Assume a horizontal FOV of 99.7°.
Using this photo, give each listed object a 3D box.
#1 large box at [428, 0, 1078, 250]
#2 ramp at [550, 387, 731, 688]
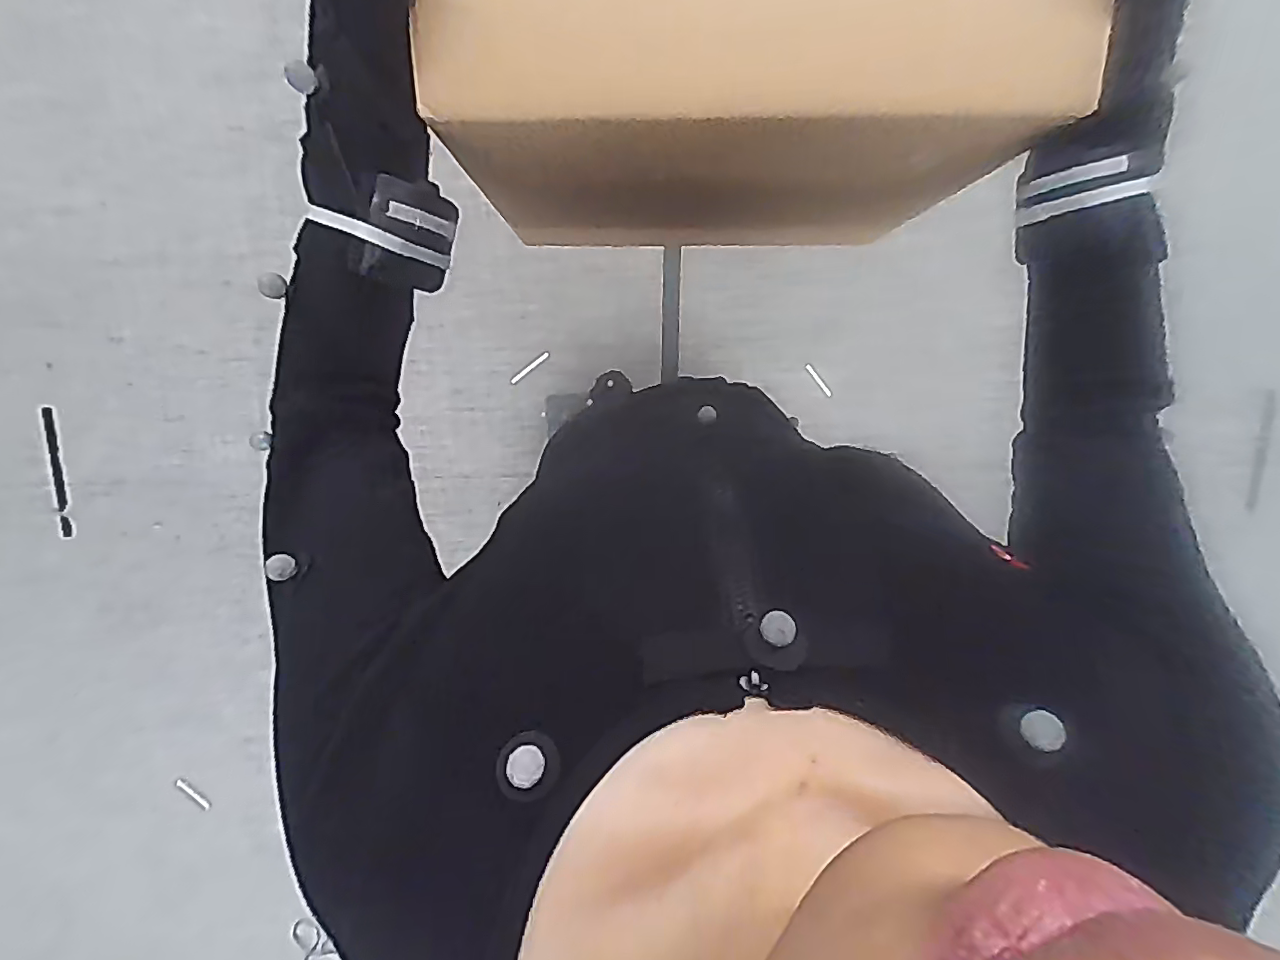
[{"bbox_3d":[0.063,-0.401,0.461,0.408,0.320,0.320,-1,100,-1],"label":"large box"},{"bbox_3d":[0.012,0.218,1.623,0.509,0.206,0.991,-3,101,-1],"label":"ramp"}]
